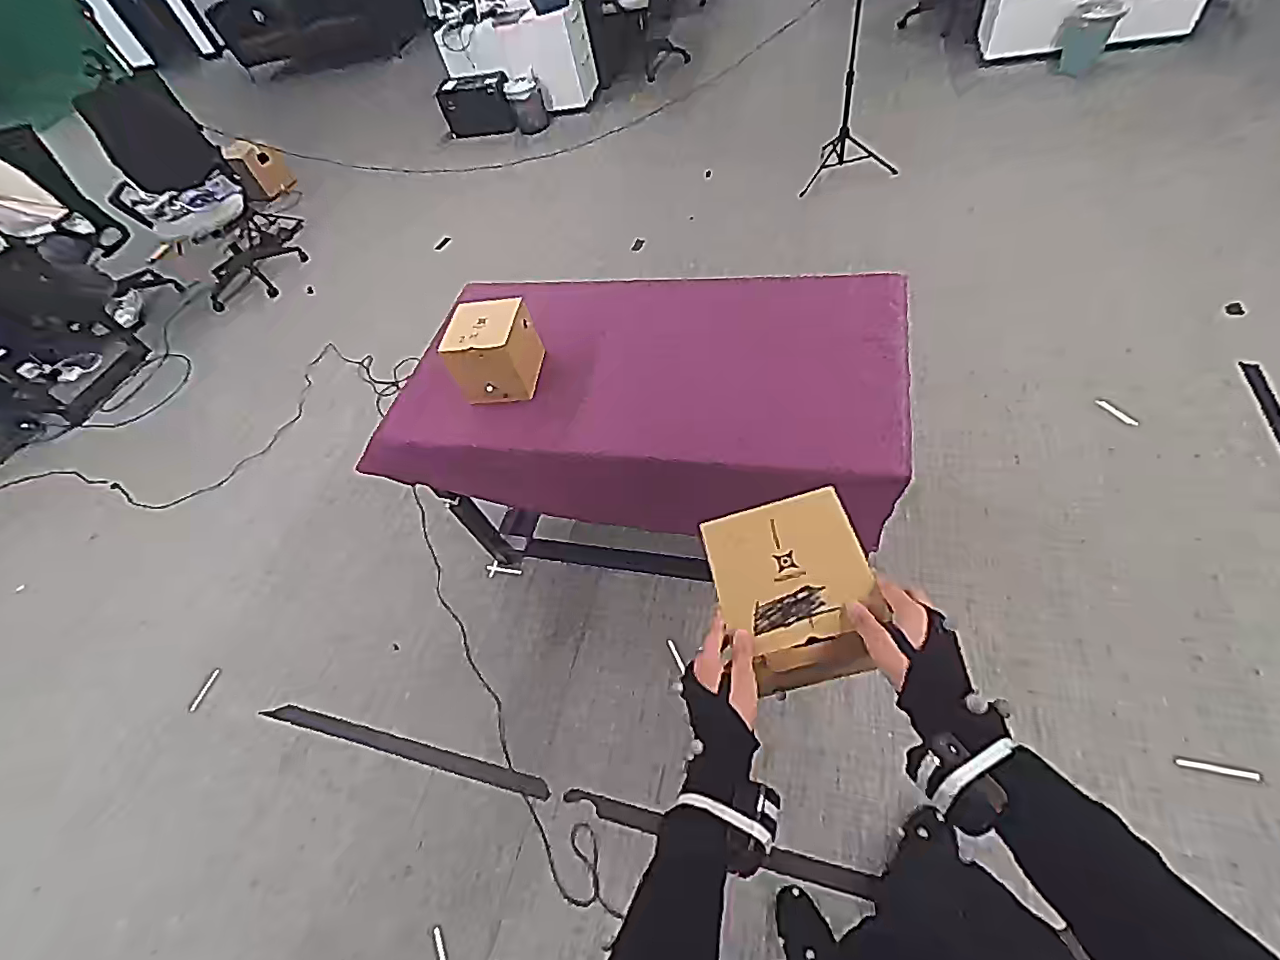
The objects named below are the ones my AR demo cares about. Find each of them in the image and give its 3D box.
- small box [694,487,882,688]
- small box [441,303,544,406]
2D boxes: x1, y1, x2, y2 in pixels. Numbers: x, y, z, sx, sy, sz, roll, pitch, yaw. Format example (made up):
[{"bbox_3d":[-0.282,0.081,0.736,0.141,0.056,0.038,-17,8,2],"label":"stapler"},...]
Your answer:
[{"bbox_3d":[0.181,0.143,0.668,0.168,0.176,0.179,-19,52,8],"label":"small box"},{"bbox_3d":[-0.345,-0.299,1.306,0.168,0.176,0.179,-2,55,12],"label":"small box"}]
